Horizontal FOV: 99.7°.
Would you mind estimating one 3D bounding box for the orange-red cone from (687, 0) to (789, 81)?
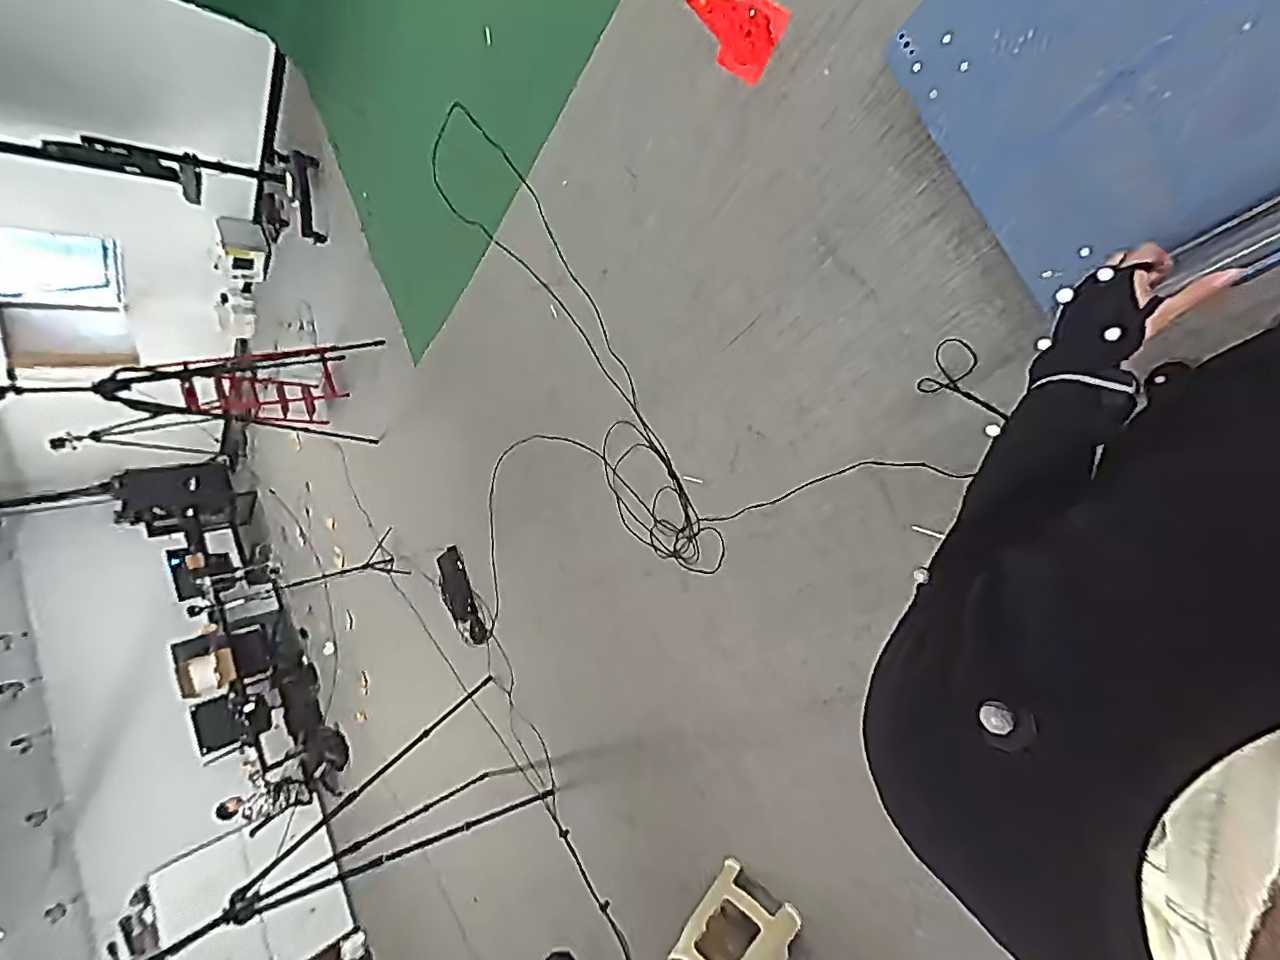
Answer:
[{"bbox_3d":[0.233,-1.360,1.569,0.198,0.360,0.199,53,132,23],"label":"orange-red cone"}]
